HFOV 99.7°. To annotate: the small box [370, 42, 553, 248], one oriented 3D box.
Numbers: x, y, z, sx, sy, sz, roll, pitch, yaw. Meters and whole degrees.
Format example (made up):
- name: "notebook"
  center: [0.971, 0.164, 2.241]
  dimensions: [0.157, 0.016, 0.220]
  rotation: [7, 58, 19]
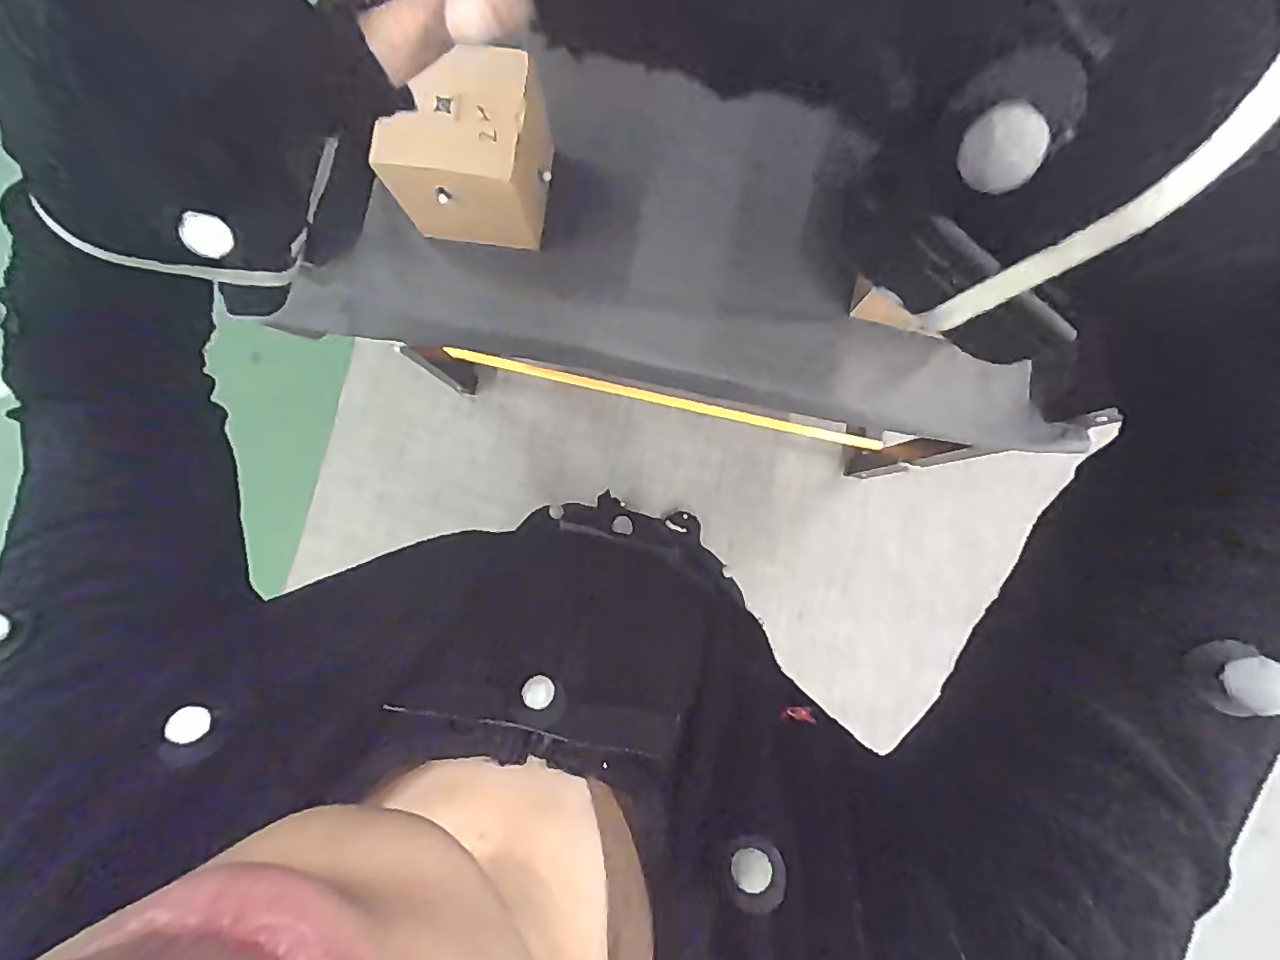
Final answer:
- name: "small box"
  center: [-0.227, -0.438, 0.732]
  dimensions: [0.179, 0.176, 0.168]
  rotation: [8, 86, 0]
